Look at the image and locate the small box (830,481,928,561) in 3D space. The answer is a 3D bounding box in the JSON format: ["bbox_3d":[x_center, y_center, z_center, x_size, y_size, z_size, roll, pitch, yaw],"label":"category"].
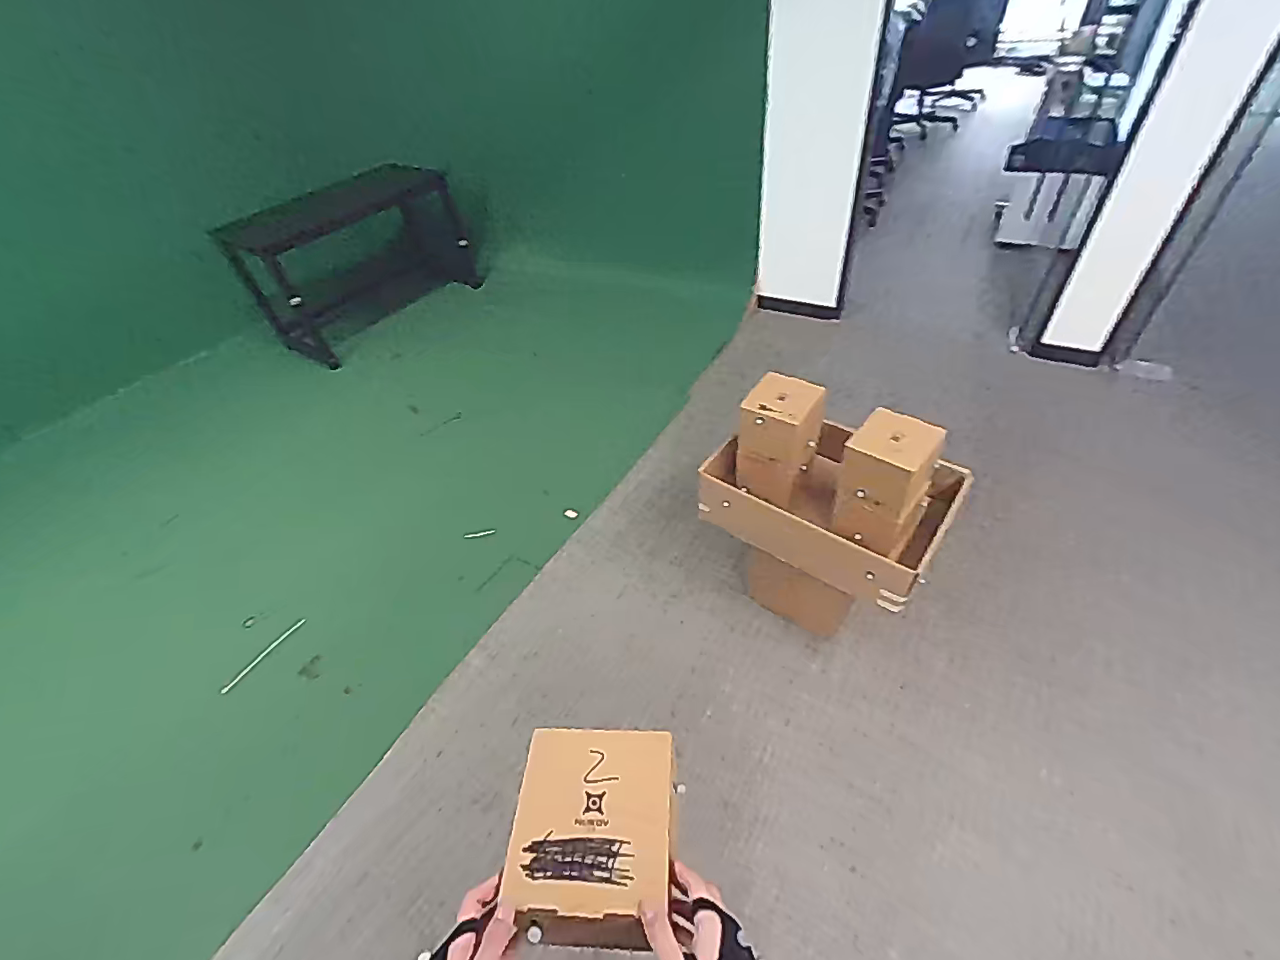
[{"bbox_3d":[0.620,0.075,1.424,0.168,0.176,0.179,31,57,32],"label":"small box"}]

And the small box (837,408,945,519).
[{"bbox_3d":[0.600,-0.041,1.311,0.168,0.176,0.179,30,56,32],"label":"small box"}]

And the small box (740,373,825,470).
[{"bbox_3d":[0.377,-0.158,1.457,0.168,0.176,0.179,23,52,29],"label":"small box"}]
